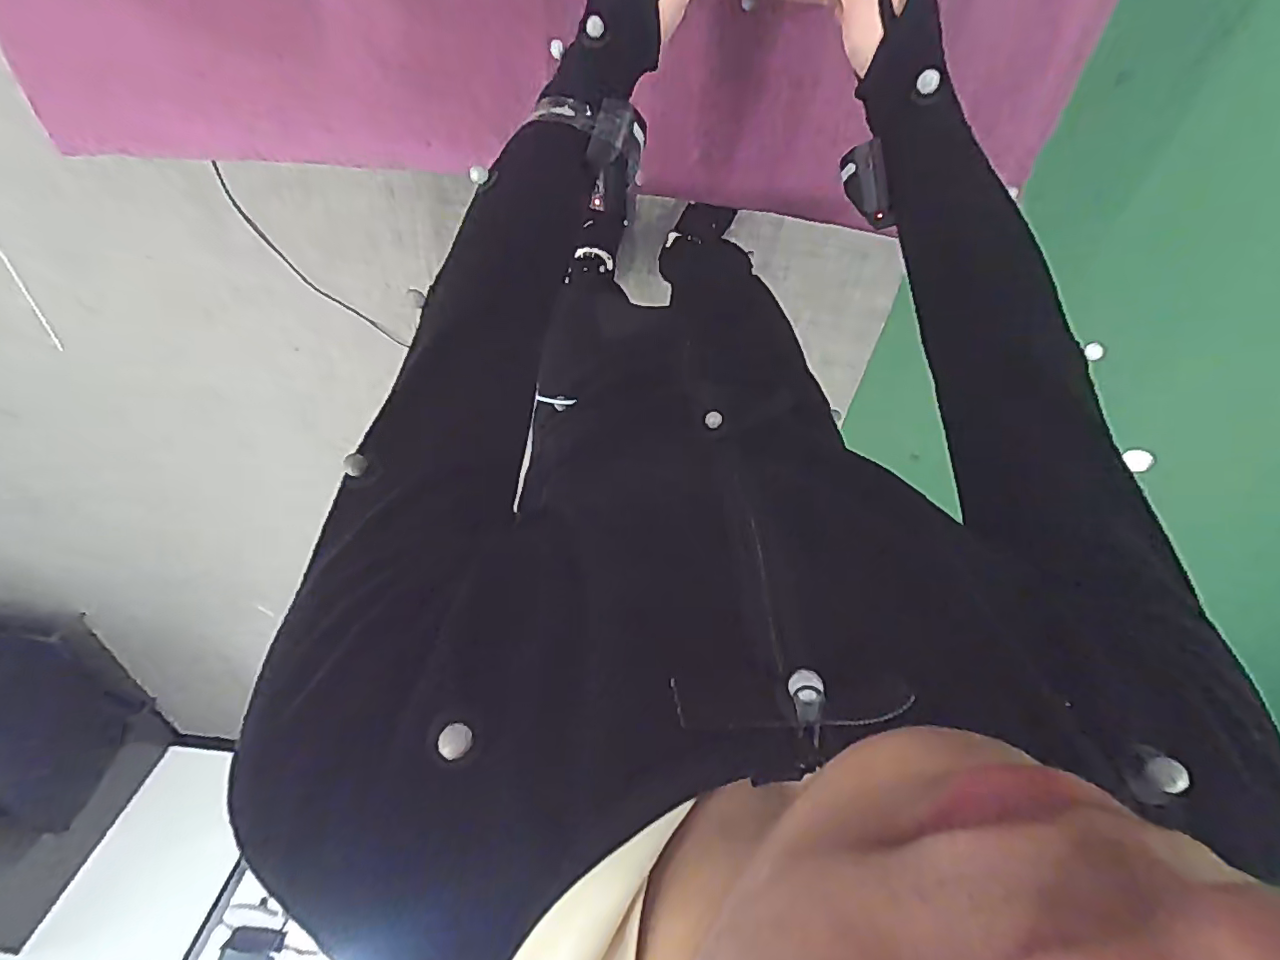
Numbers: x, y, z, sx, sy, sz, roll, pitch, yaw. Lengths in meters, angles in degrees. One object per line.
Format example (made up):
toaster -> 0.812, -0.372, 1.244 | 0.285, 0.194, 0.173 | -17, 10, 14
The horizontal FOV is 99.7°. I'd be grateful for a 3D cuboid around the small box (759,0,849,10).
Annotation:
small box -> 0.116, -0.513, 0.438 | 0.168, 0.176, 0.179 | 9, 129, -1
